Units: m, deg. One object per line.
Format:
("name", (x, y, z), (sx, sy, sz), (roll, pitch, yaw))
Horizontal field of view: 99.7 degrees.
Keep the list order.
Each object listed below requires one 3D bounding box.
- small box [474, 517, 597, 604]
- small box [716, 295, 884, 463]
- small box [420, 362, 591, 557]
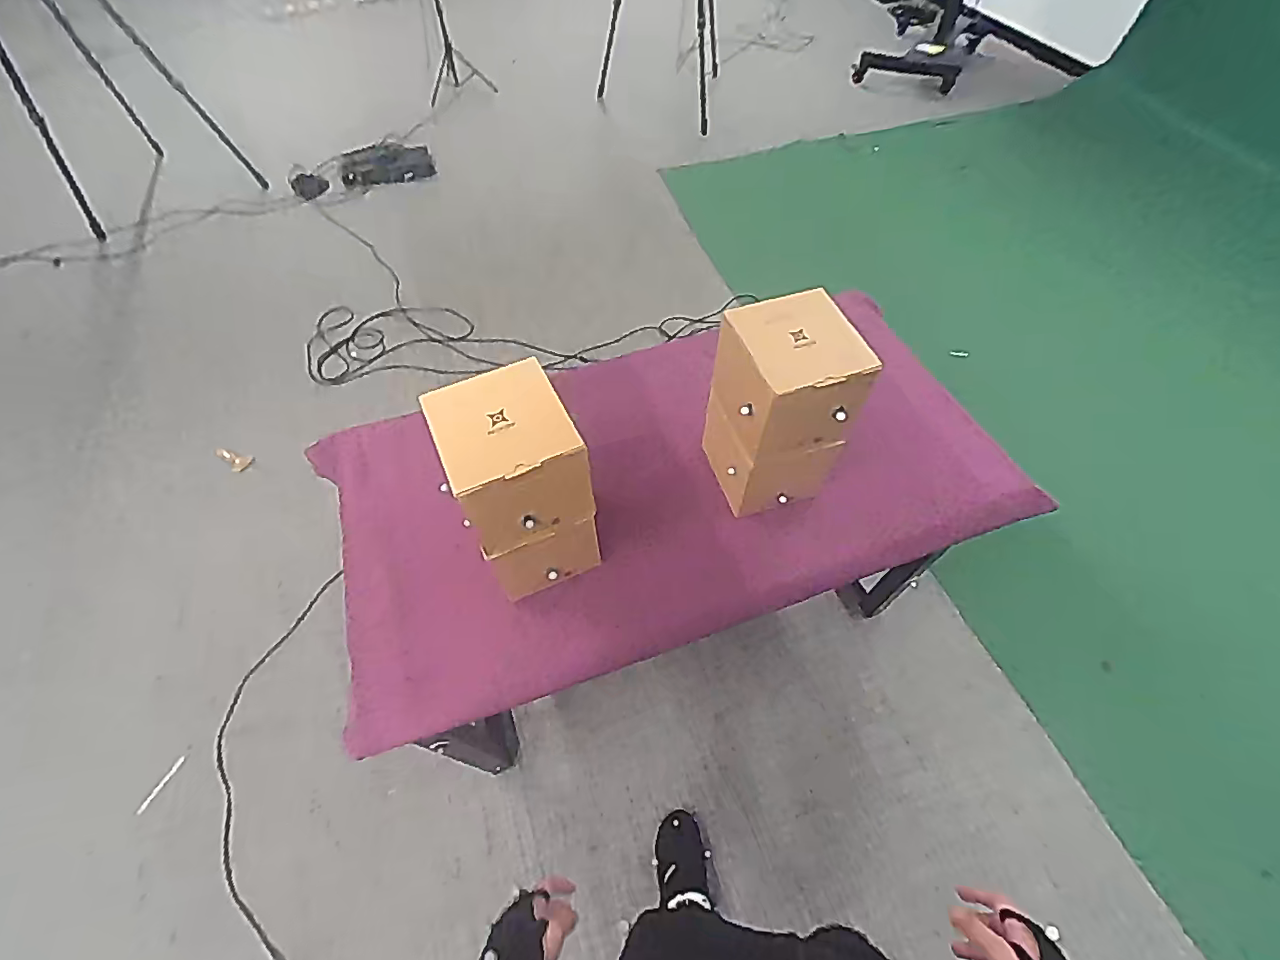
("small box", (-0.178, 0.070, 0.872), (0.168, 0.176, 0.179), (-21, 59, -13))
("small box", (0.226, -0.143, 0.817), (0.168, 0.176, 0.179), (-15, 58, -10))
("small box", (-0.176, -0.025, 0.740), (0.168, 0.176, 0.179), (-22, 59, -15))
